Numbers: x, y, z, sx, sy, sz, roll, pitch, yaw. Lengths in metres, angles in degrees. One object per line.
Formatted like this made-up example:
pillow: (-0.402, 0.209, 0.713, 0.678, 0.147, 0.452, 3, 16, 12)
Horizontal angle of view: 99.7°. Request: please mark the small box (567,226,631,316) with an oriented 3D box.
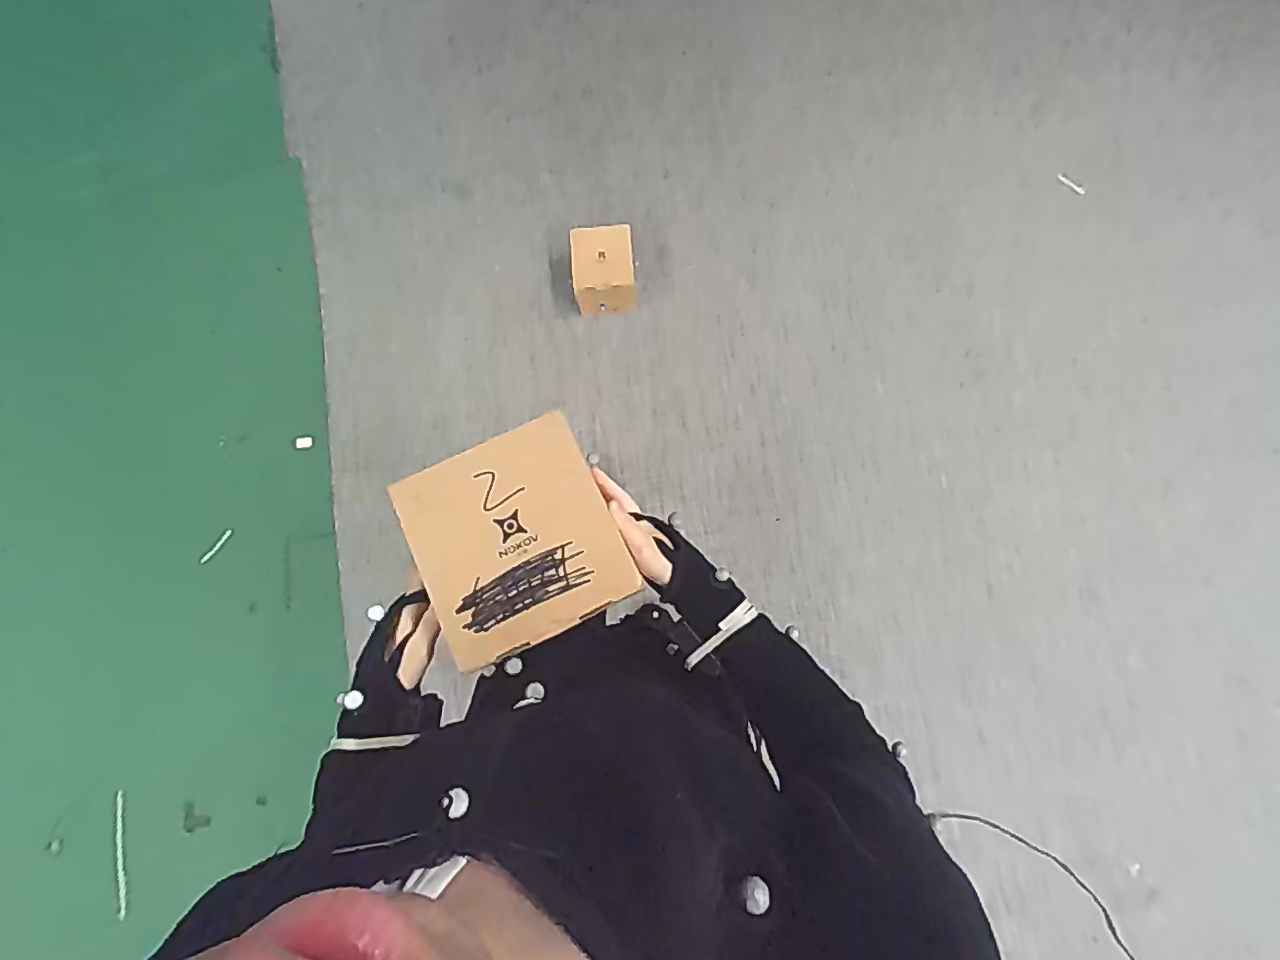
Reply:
small box: (-0.114, -0.587, 1.533, 0.168, 0.176, 0.179, -5, 83, 0)
